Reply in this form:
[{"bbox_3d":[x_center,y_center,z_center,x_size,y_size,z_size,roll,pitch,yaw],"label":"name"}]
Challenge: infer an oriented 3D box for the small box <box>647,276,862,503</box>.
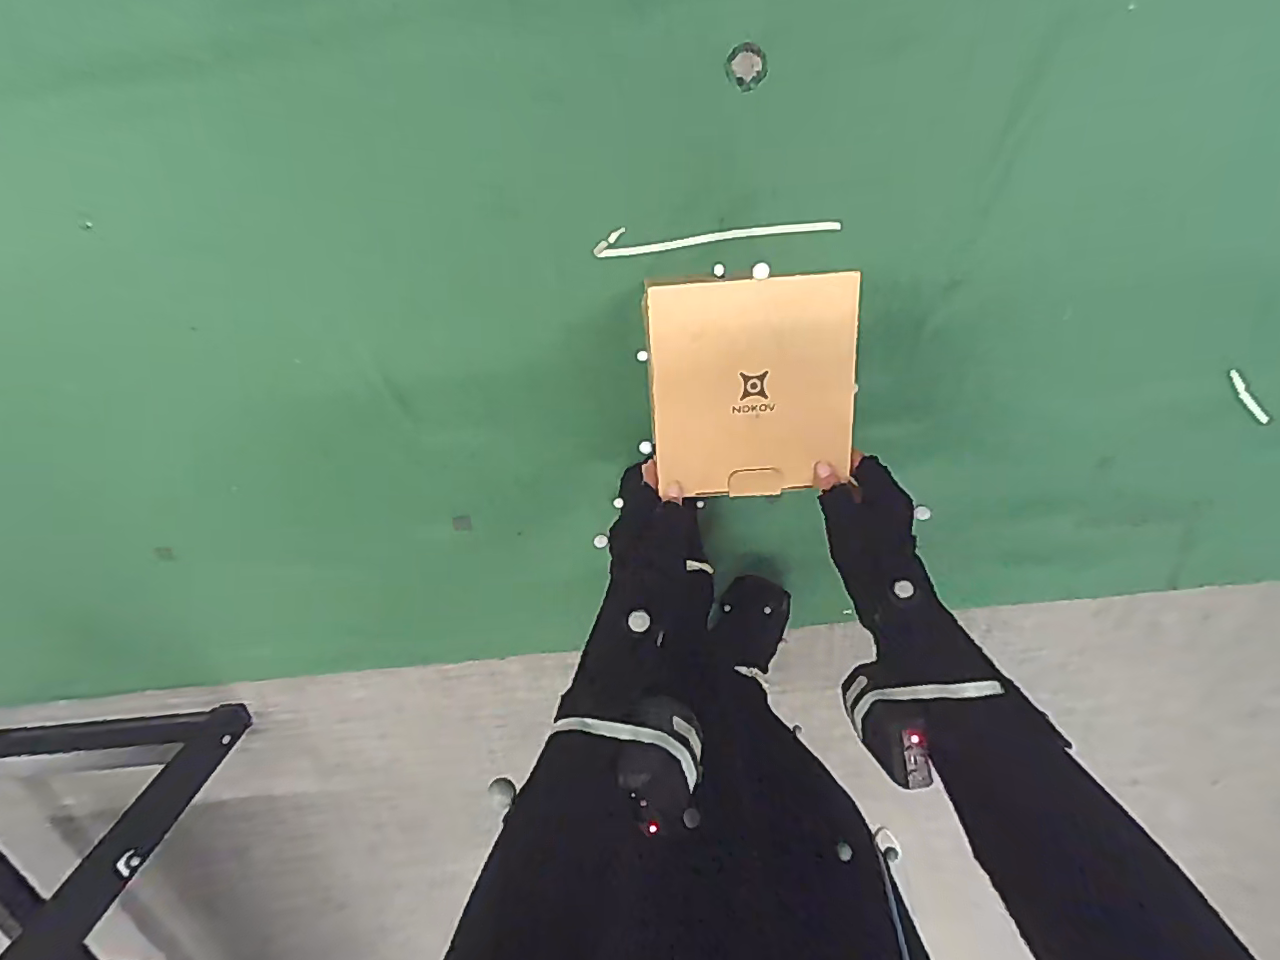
[{"bbox_3d":[0.095,-0.090,0.516,0.168,0.176,0.179,-4,107,1],"label":"small box"}]
